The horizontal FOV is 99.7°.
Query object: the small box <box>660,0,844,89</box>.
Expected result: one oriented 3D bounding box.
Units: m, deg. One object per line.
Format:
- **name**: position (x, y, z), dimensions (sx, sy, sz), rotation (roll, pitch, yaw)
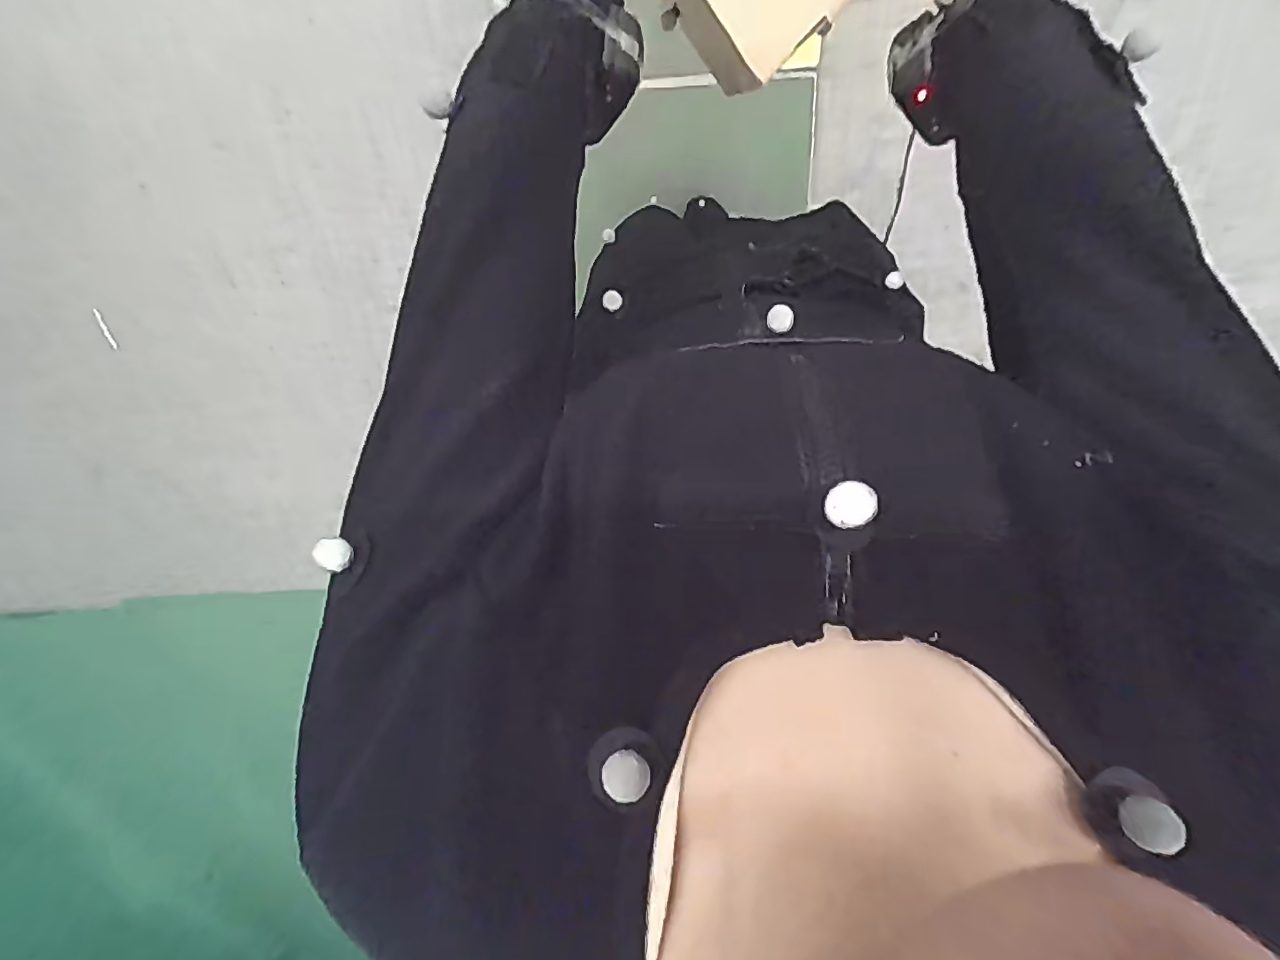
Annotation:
- **small box**: position (0.091, -0.449, 0.422), dimensions (0.168, 0.176, 0.179), rotation (-39, 117, 21)
